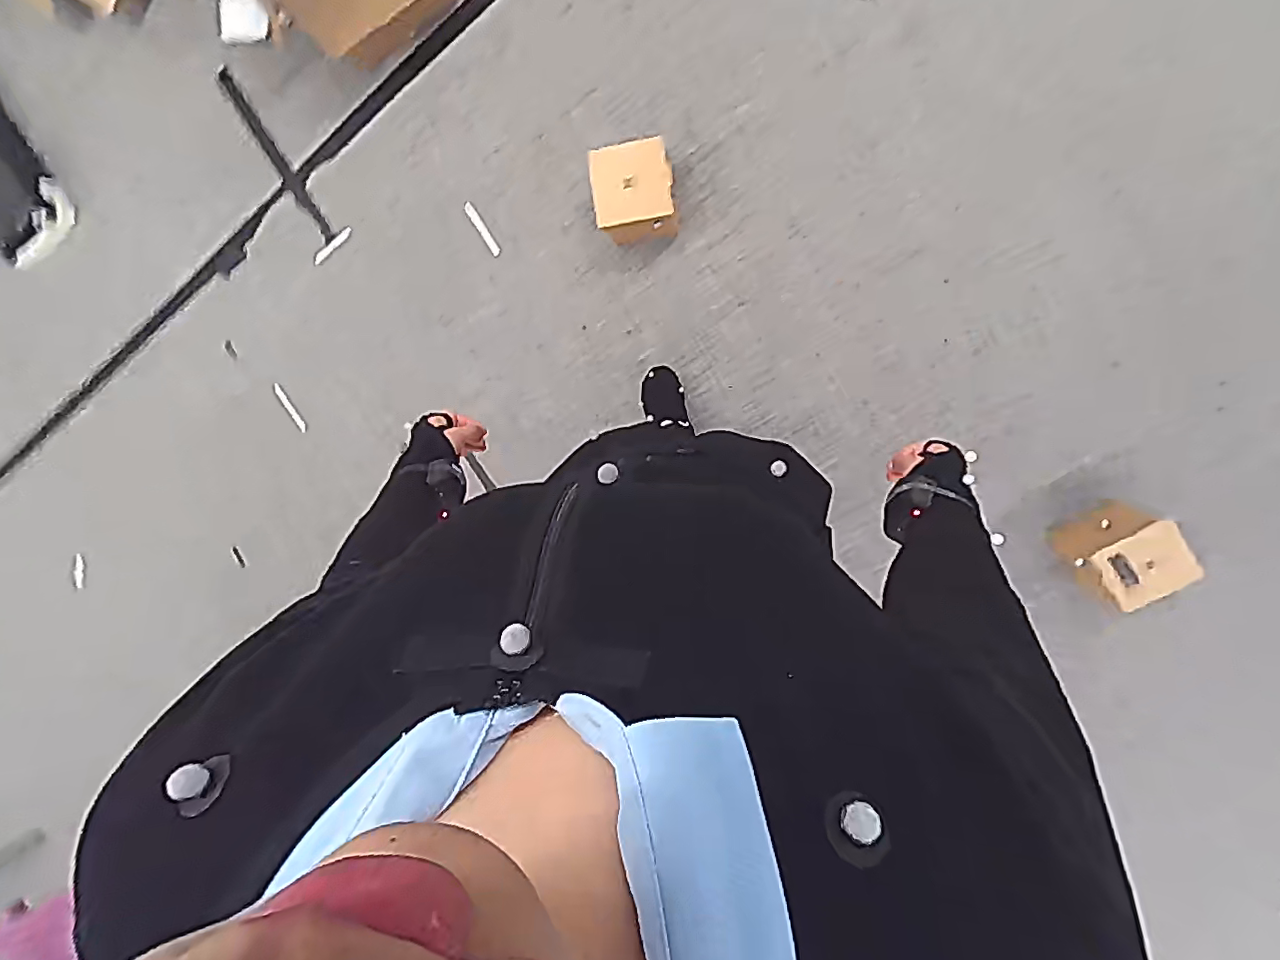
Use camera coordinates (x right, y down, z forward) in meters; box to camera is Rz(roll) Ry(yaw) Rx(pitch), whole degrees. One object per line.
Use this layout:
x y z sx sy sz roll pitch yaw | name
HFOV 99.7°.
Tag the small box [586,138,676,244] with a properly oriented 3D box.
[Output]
-0.015 -0.677 1.288 0.179 0.176 0.168 -7 100 10 | small box
